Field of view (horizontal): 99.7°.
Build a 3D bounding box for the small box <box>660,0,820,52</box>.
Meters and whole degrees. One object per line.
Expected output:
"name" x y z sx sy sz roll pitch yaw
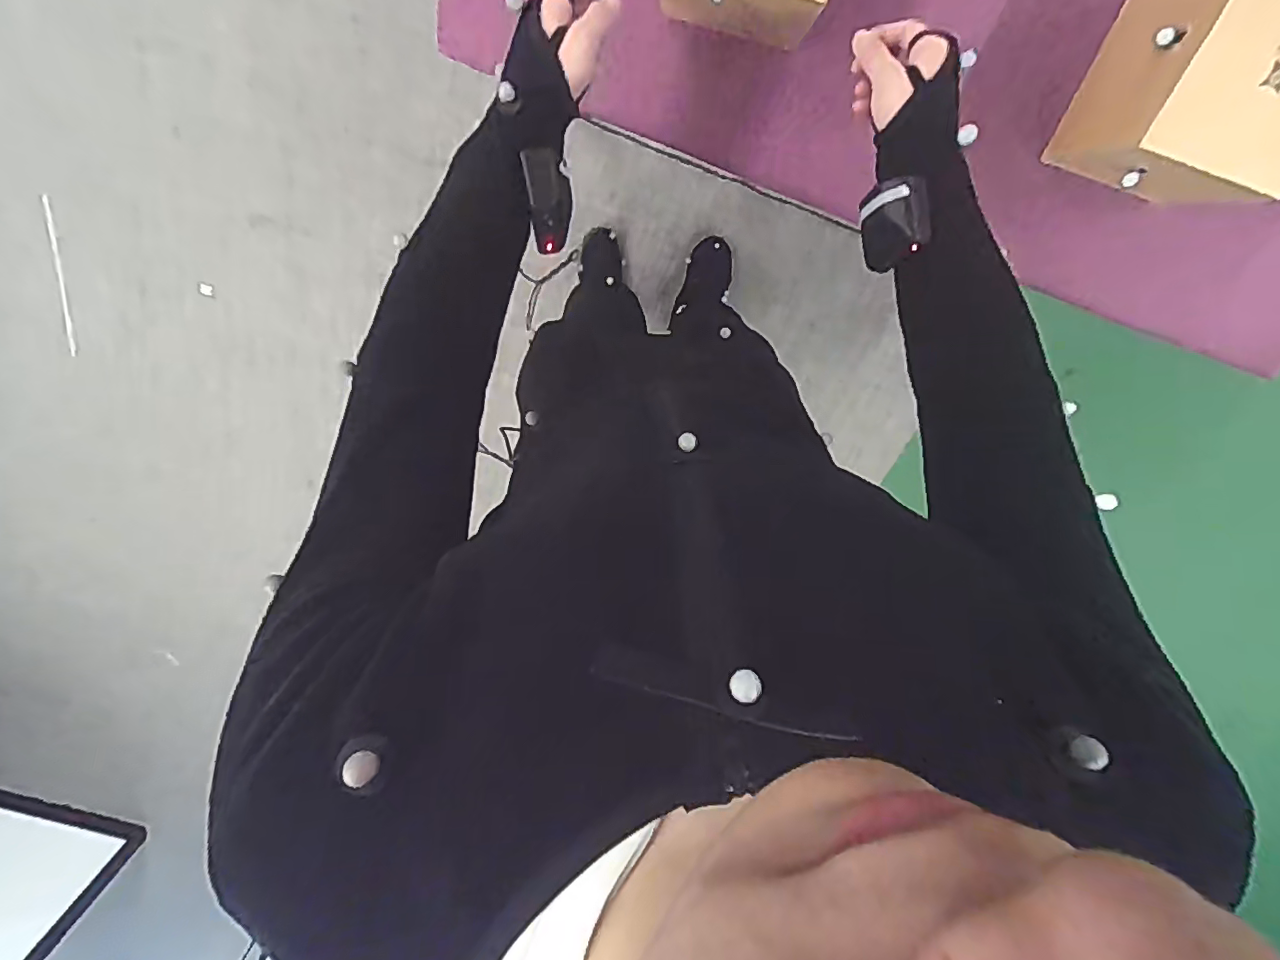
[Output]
"small box" 0.111 -0.564 0.531 0.168 0.176 0.179 14 118 -2
